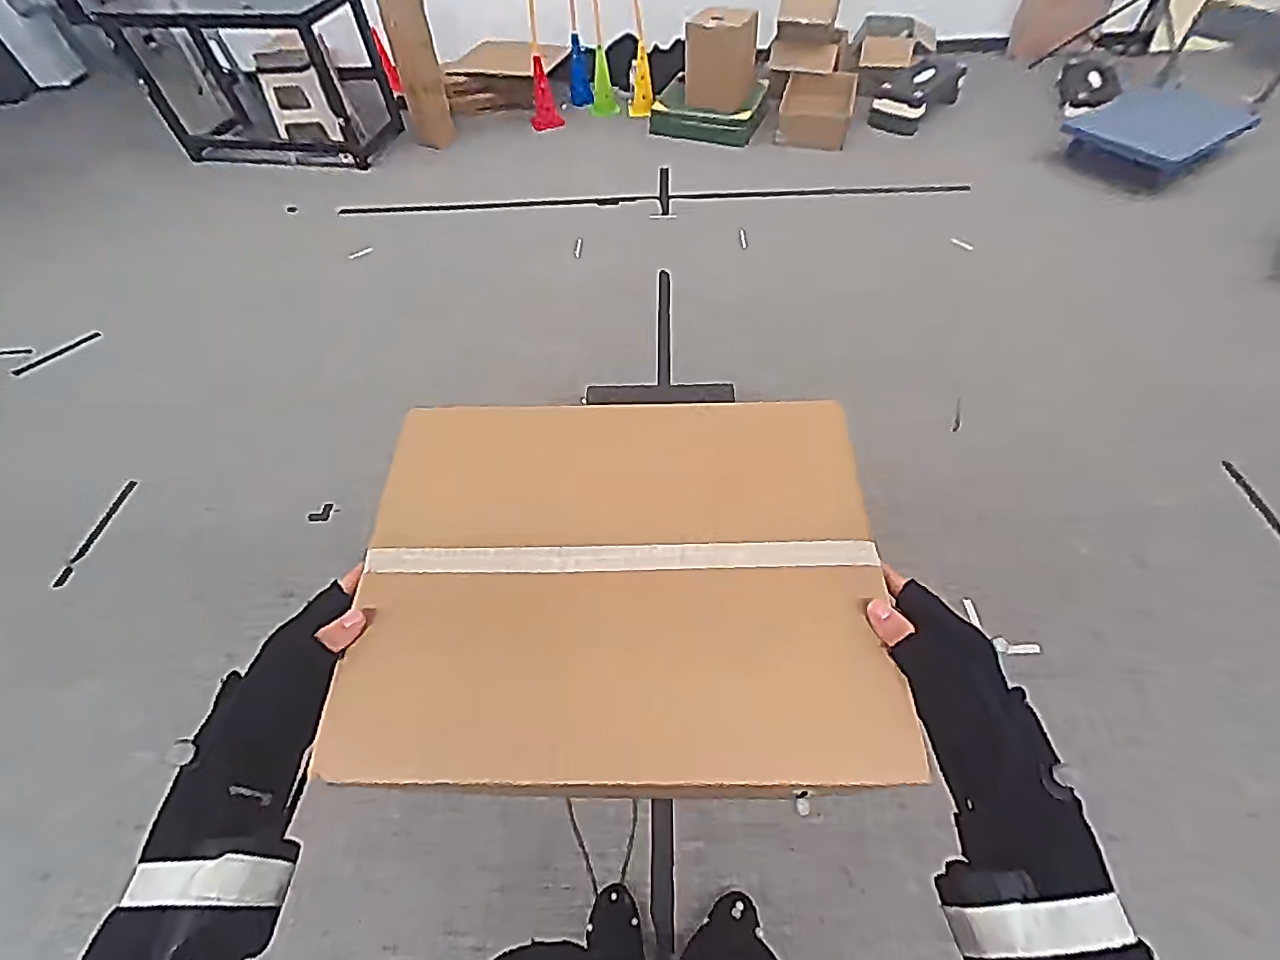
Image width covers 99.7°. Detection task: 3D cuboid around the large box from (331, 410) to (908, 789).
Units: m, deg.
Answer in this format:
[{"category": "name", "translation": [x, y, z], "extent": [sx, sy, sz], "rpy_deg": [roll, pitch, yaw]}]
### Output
[{"category": "large box", "translation": [-0.011, 0.146, 0.569], "extent": [0.408, 0.320, 0.320], "rpy_deg": [-1, 58, 2]}]
